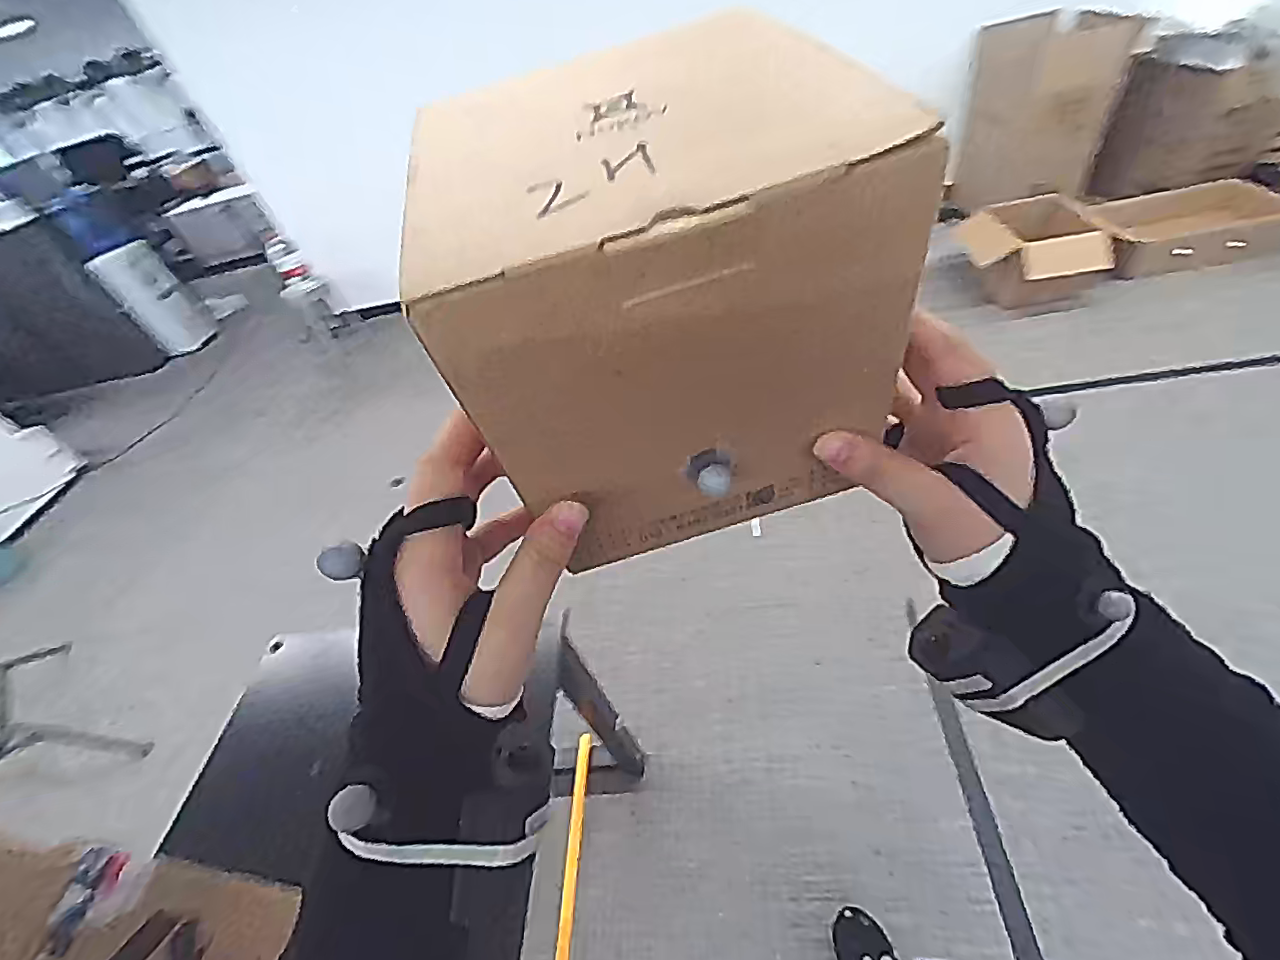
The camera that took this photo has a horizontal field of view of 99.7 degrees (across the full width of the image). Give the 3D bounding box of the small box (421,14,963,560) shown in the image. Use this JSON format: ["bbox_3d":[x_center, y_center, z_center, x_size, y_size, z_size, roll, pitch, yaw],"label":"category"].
[{"bbox_3d":[0.014,-0.089,0.271,0.168,0.176,0.179,-17,51,2],"label":"small box"}]
